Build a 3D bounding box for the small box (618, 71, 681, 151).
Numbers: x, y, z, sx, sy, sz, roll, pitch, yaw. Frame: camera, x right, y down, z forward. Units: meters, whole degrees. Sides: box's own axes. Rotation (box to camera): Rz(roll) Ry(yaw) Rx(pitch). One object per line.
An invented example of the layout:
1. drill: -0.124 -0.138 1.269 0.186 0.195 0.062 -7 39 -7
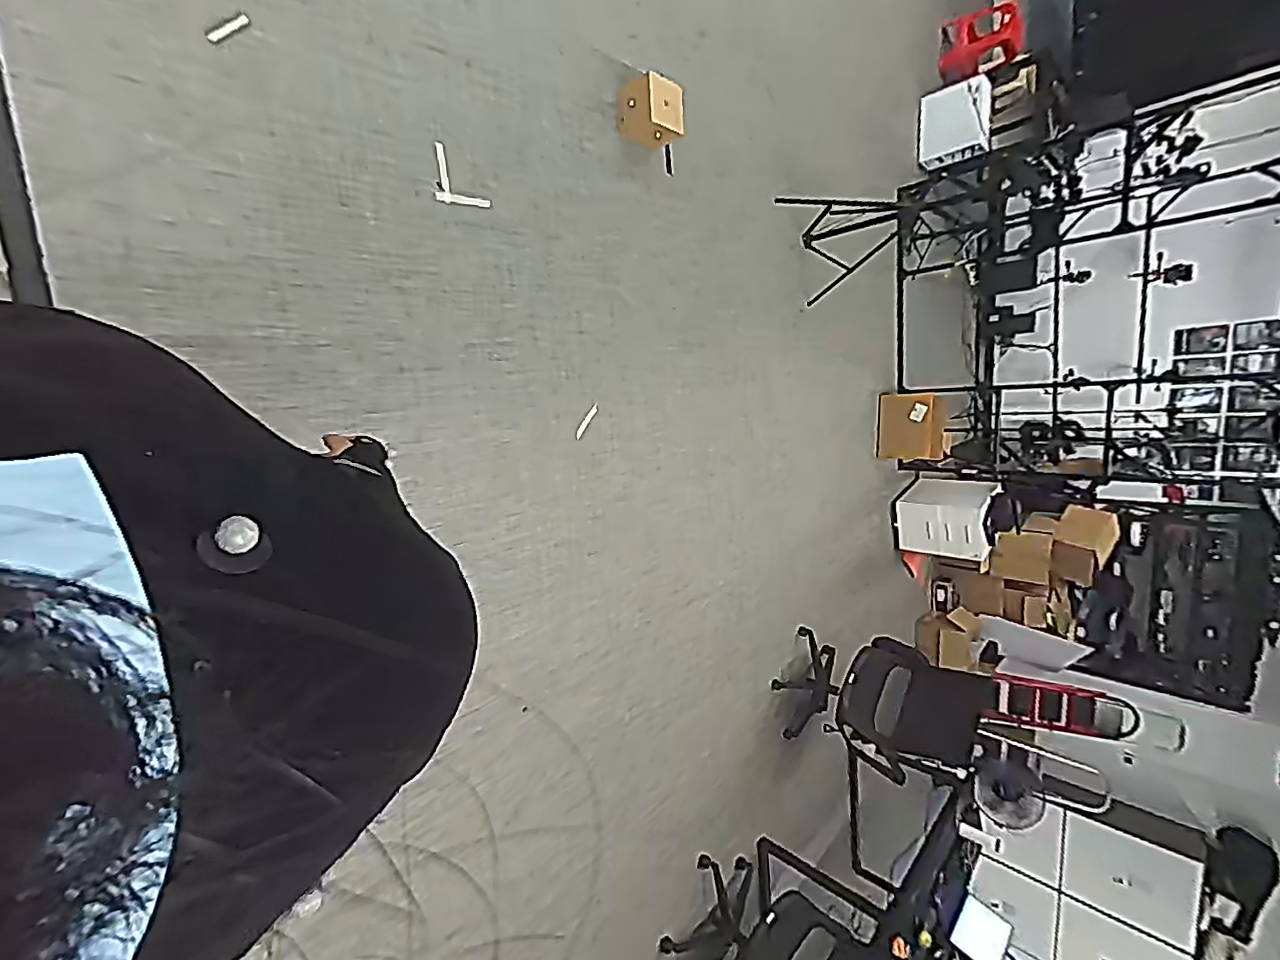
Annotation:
1. small box: 0.029 -1.345 1.986 0.179 0.176 0.168 -10 101 -45
